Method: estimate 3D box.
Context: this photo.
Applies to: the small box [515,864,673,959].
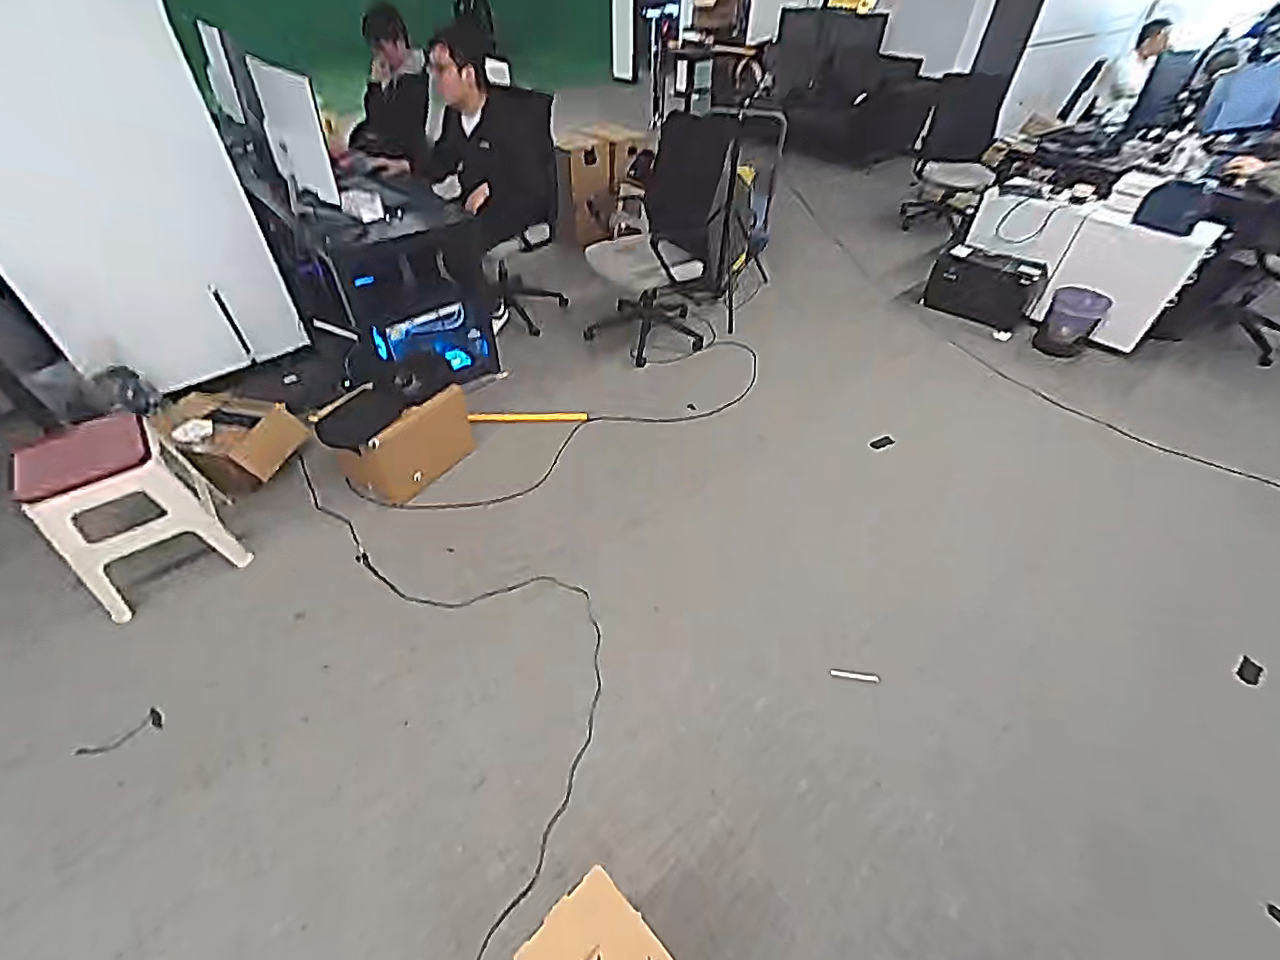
[{"bbox_3d":[-0.065,0.737,0.813,0.168,0.176,0.179,-34,54,-31],"label":"small box"}]
